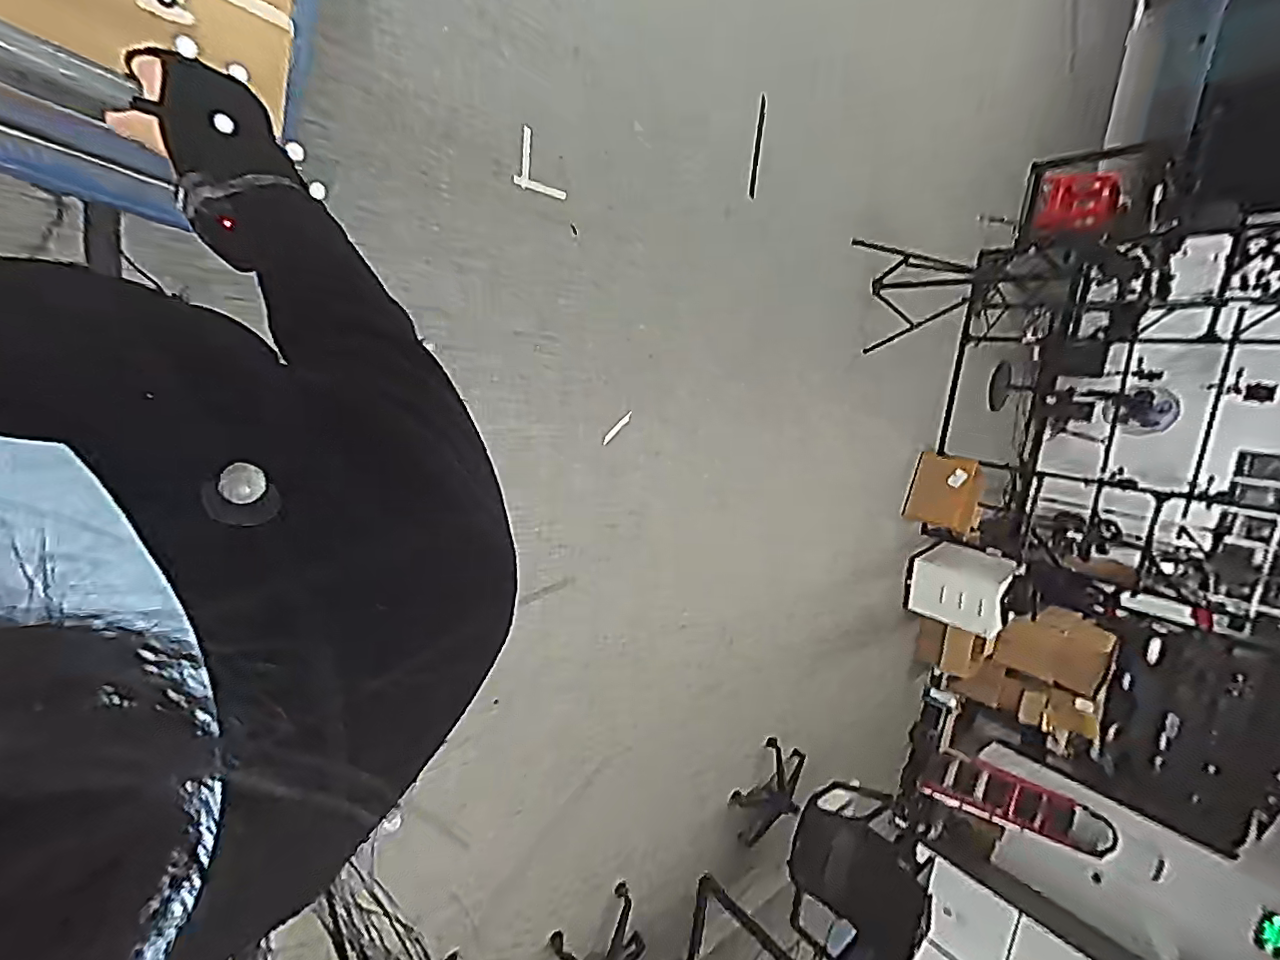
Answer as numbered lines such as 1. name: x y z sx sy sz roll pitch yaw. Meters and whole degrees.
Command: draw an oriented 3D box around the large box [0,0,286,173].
1. large box: -0.768 -0.702 0.764 0.408 0.320 0.320 3 101 -44
